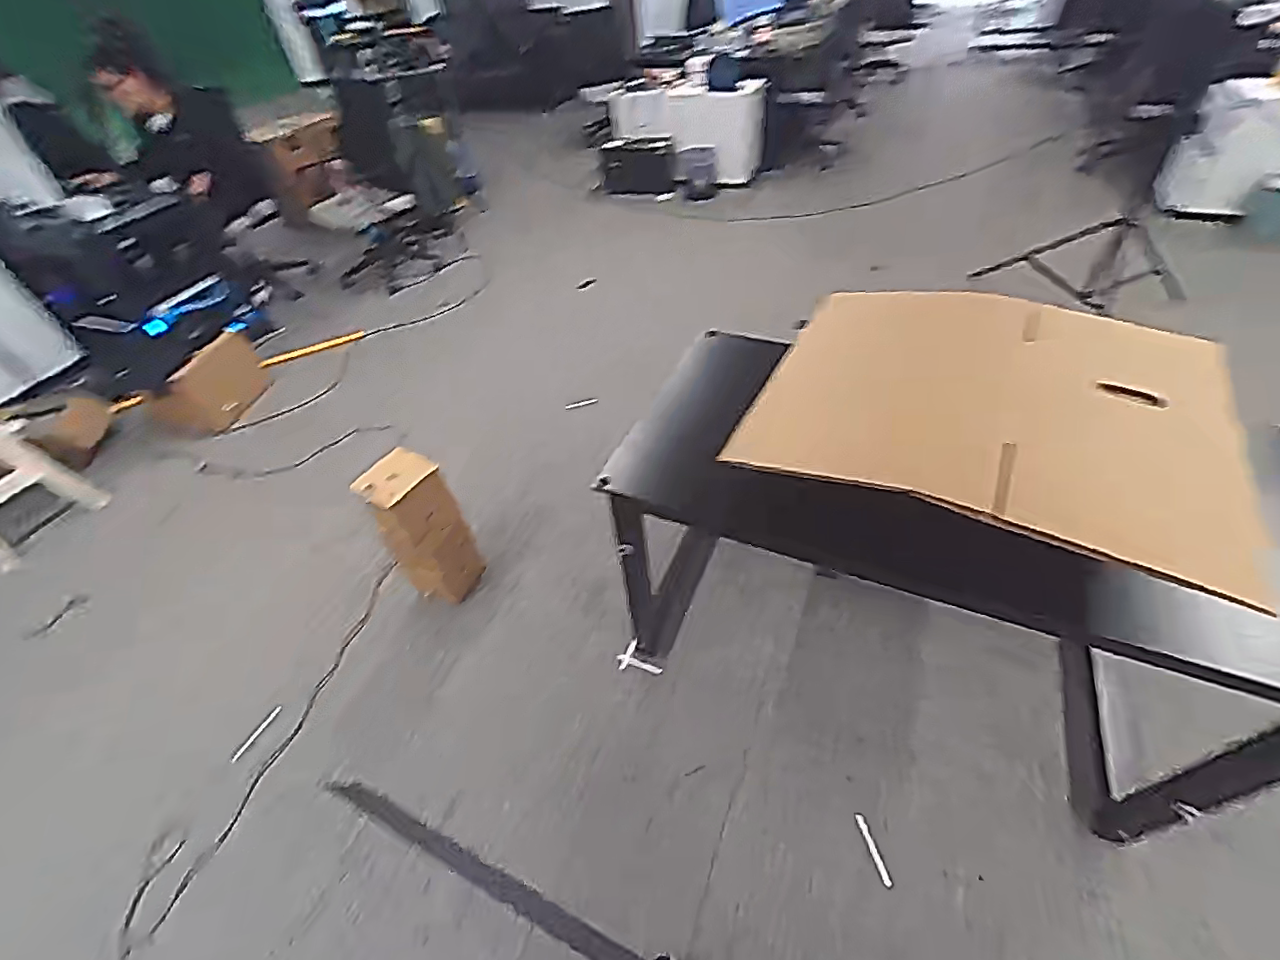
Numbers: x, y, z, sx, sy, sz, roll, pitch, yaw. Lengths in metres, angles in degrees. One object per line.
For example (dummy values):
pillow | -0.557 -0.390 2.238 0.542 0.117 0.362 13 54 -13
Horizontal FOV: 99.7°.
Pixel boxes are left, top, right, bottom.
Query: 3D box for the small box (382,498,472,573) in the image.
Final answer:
small box | -0.643 0.159 1.657 0.168 0.176 0.179 11 47 15

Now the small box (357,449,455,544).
small box | -0.653 0.046 1.539 0.168 0.176 0.179 22 51 24

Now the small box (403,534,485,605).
small box | -0.630 0.276 1.769 0.168 0.176 0.179 13 50 18
